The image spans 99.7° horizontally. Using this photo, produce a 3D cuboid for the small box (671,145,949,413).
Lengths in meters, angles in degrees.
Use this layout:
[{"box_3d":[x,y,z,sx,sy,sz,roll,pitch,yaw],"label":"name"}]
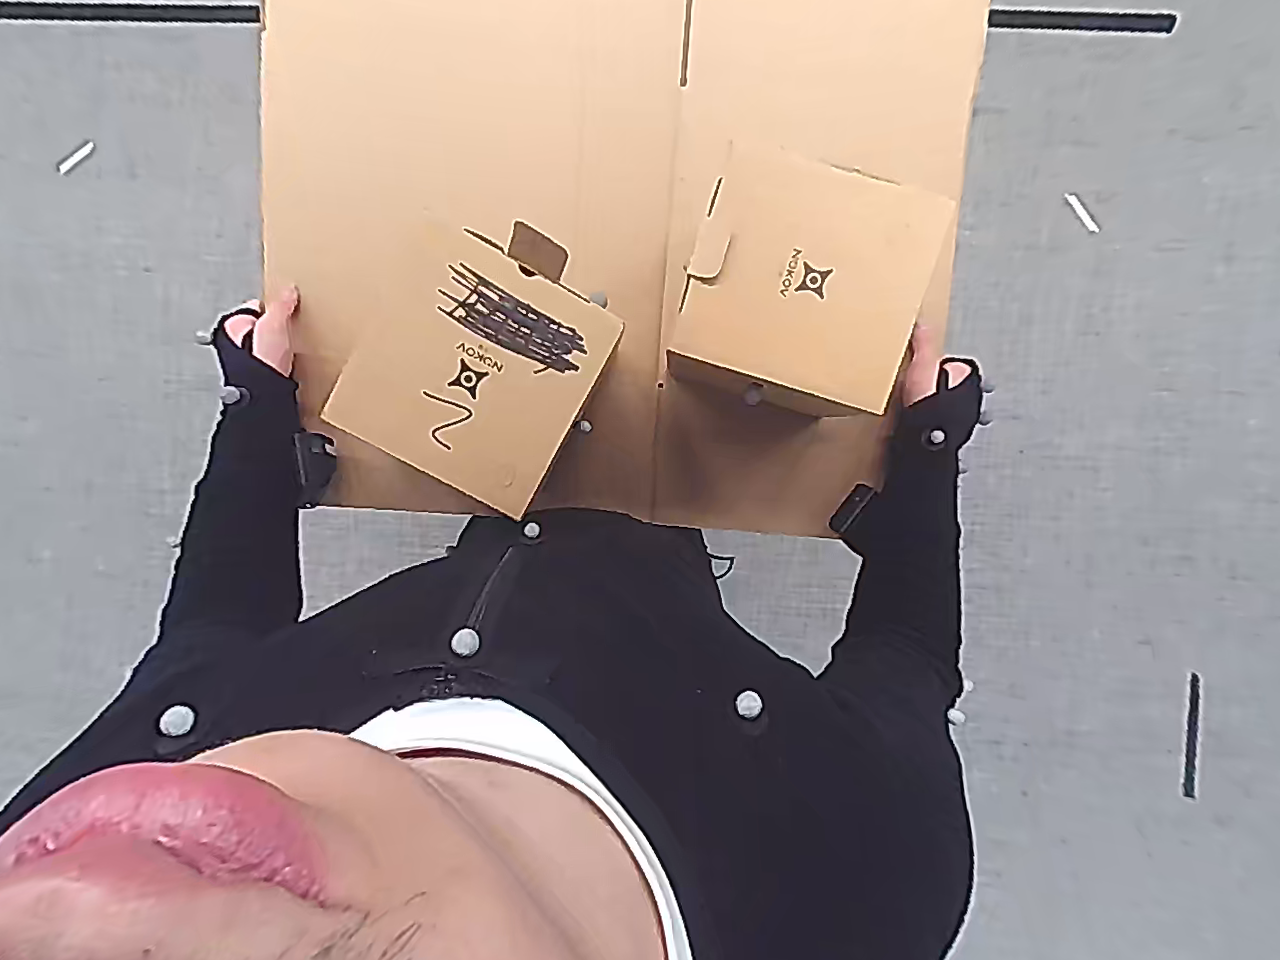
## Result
[{"box_3d":[0.136,-0.166,0.502,0.179,0.176,0.168,17,97,2],"label":"small box"}]
